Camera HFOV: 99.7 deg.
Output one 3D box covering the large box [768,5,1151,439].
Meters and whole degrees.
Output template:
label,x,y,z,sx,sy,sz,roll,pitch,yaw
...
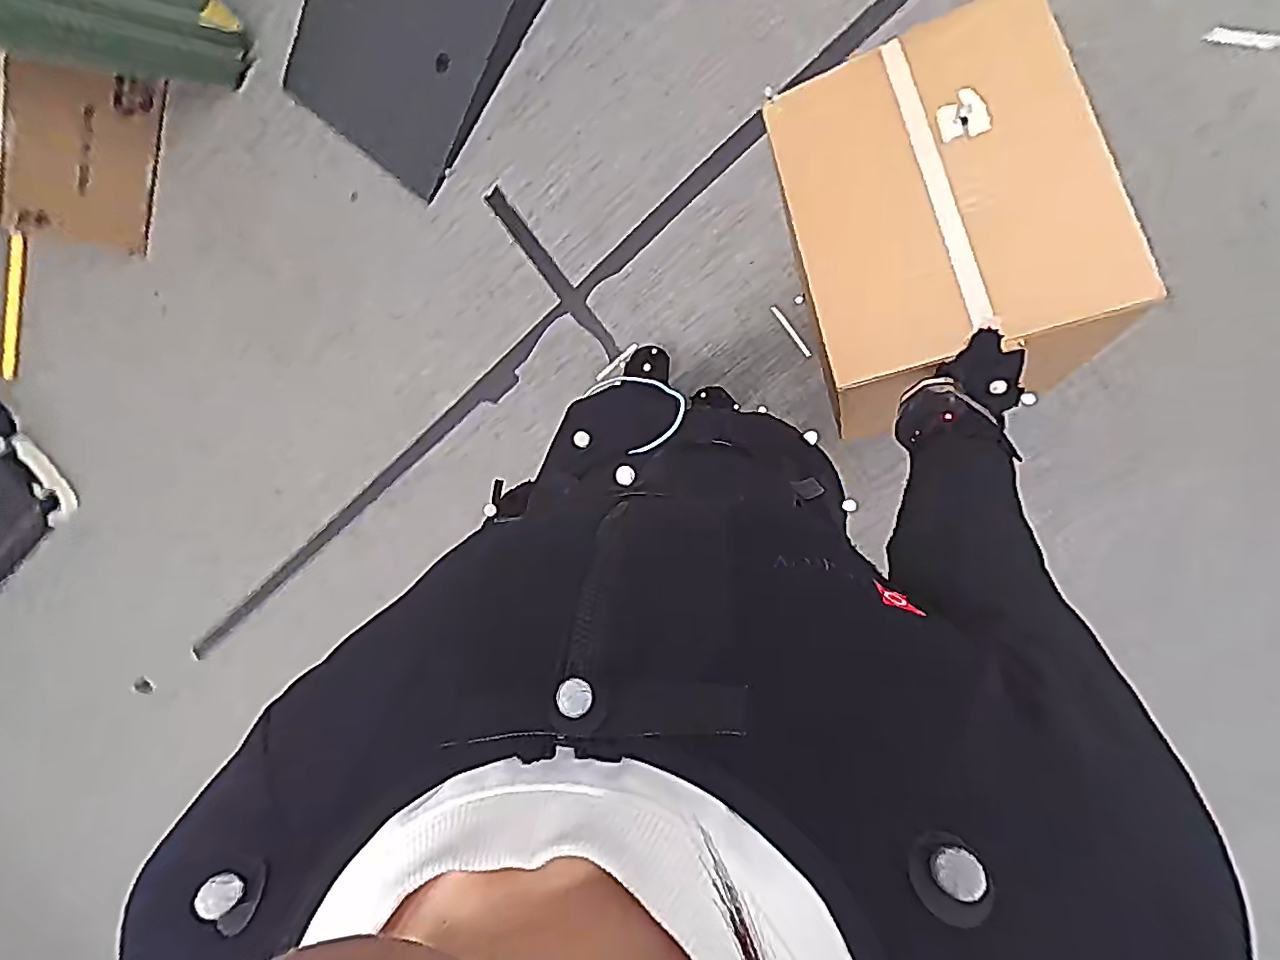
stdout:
label,x,y,z,sx,sy,sz,roll,pitch,yaw
large box,0.401,-0.313,0.776,0.320,0.320,0.408,-14,77,18
